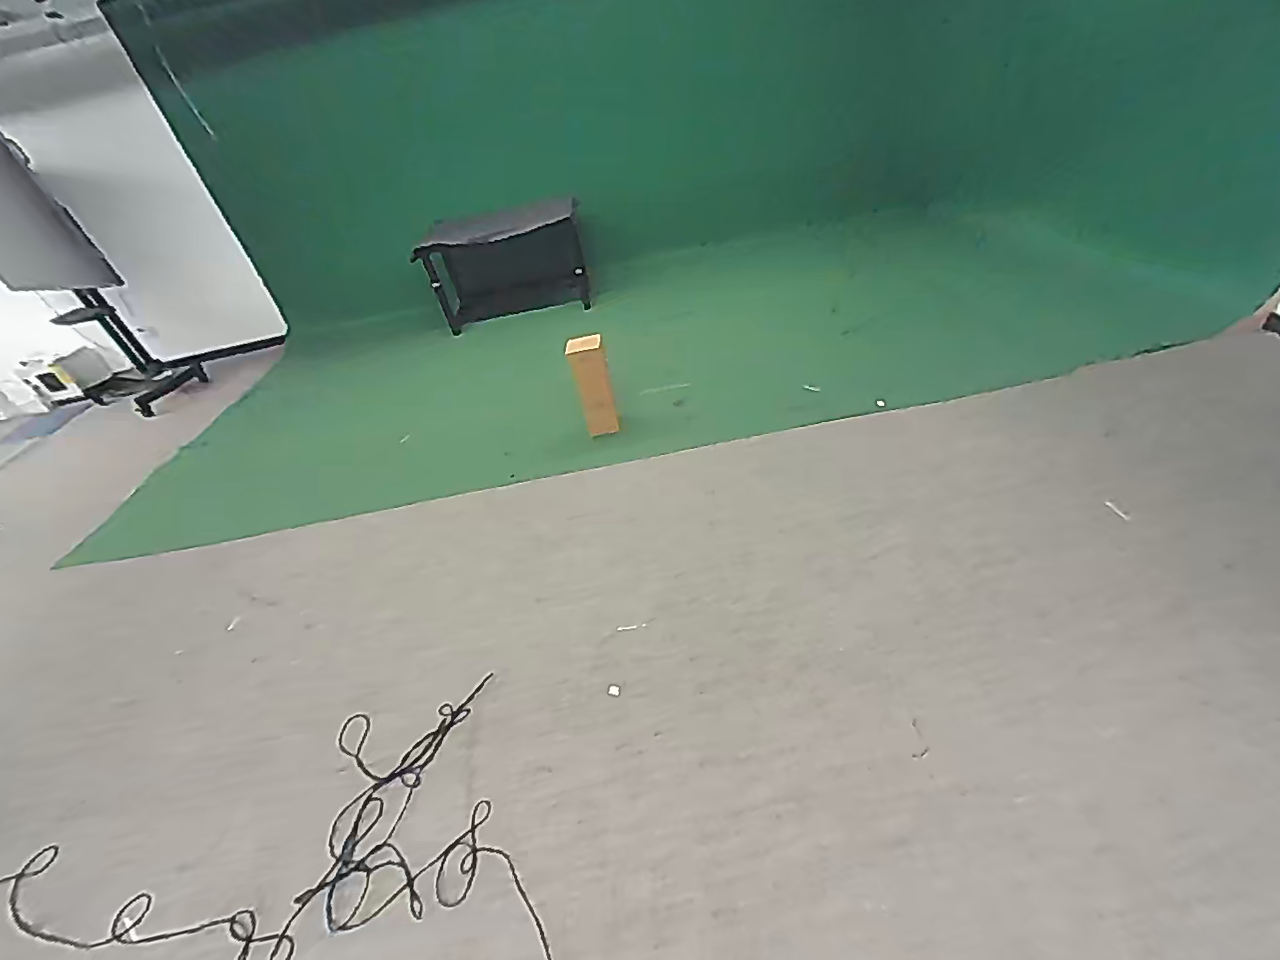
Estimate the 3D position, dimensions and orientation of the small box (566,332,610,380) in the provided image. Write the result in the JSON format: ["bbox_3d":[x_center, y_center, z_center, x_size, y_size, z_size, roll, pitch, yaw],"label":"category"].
[{"bbox_3d":[-0.260,-0.621,2.727,0.179,0.176,0.168,-9,38,6],"label":"small box"}]

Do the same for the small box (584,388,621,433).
[{"bbox_3d":[-0.202,-0.369,2.931,0.168,0.176,0.179,-11,37,4],"label":"small box"}]
